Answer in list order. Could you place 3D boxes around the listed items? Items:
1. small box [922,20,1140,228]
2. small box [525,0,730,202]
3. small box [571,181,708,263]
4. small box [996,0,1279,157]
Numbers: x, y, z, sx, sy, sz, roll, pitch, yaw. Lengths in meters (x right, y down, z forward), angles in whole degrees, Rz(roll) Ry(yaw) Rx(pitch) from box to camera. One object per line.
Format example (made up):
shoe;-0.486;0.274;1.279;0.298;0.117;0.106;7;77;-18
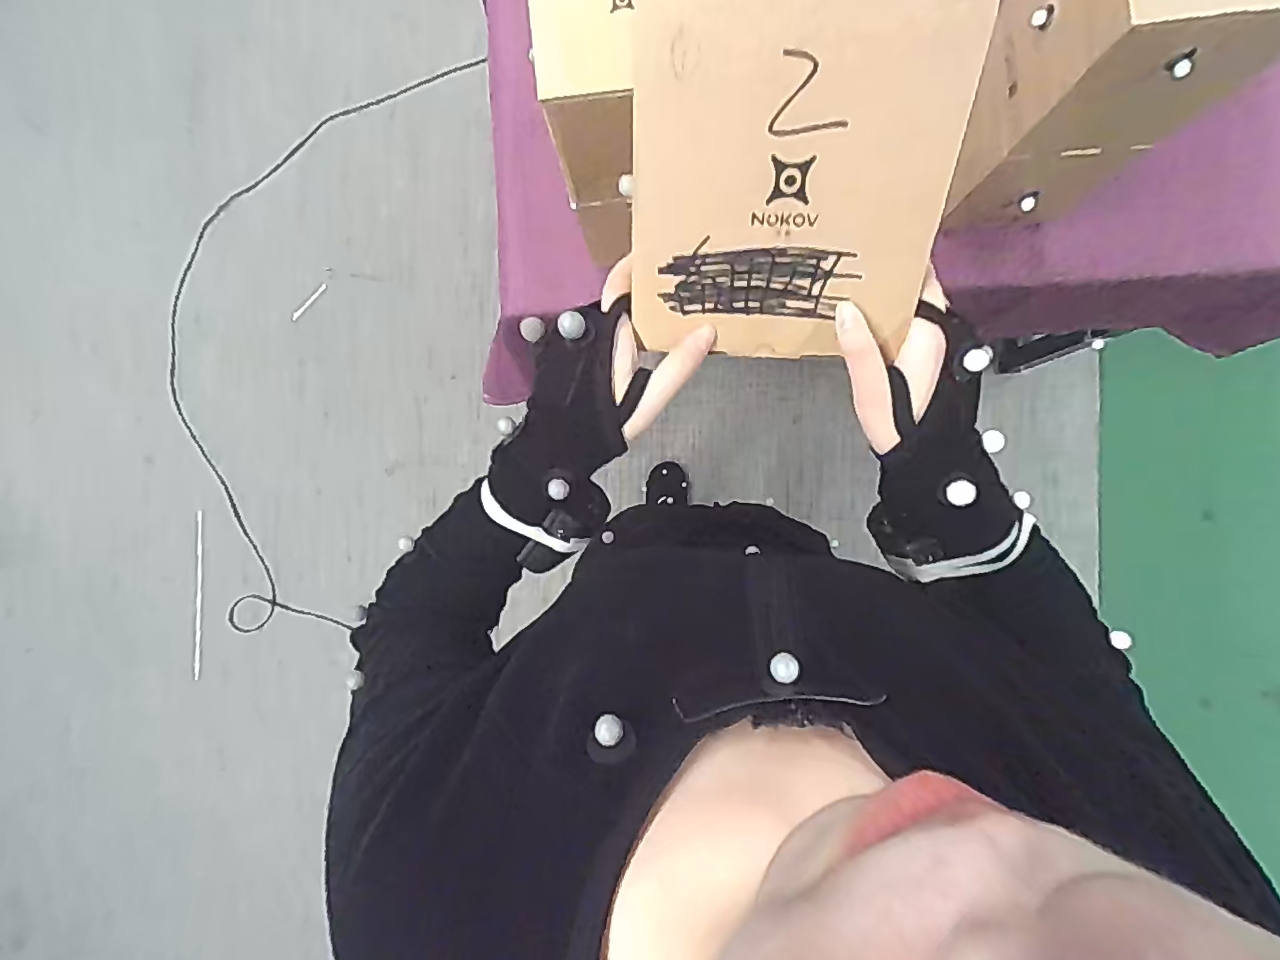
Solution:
small box;0.487;-0.444;0.699;0.168;0.176;0.179;-2;88;2
small box;-0.011;-0.411;0.556;0.179;0.176;0.168;-6;88;0
small box;-0.001;-0.405;0.718;0.168;0.176;0.179;-4;87;1
small box;0.482;-0.449;0.533;0.179;0.176;0.168;-3;88;2
